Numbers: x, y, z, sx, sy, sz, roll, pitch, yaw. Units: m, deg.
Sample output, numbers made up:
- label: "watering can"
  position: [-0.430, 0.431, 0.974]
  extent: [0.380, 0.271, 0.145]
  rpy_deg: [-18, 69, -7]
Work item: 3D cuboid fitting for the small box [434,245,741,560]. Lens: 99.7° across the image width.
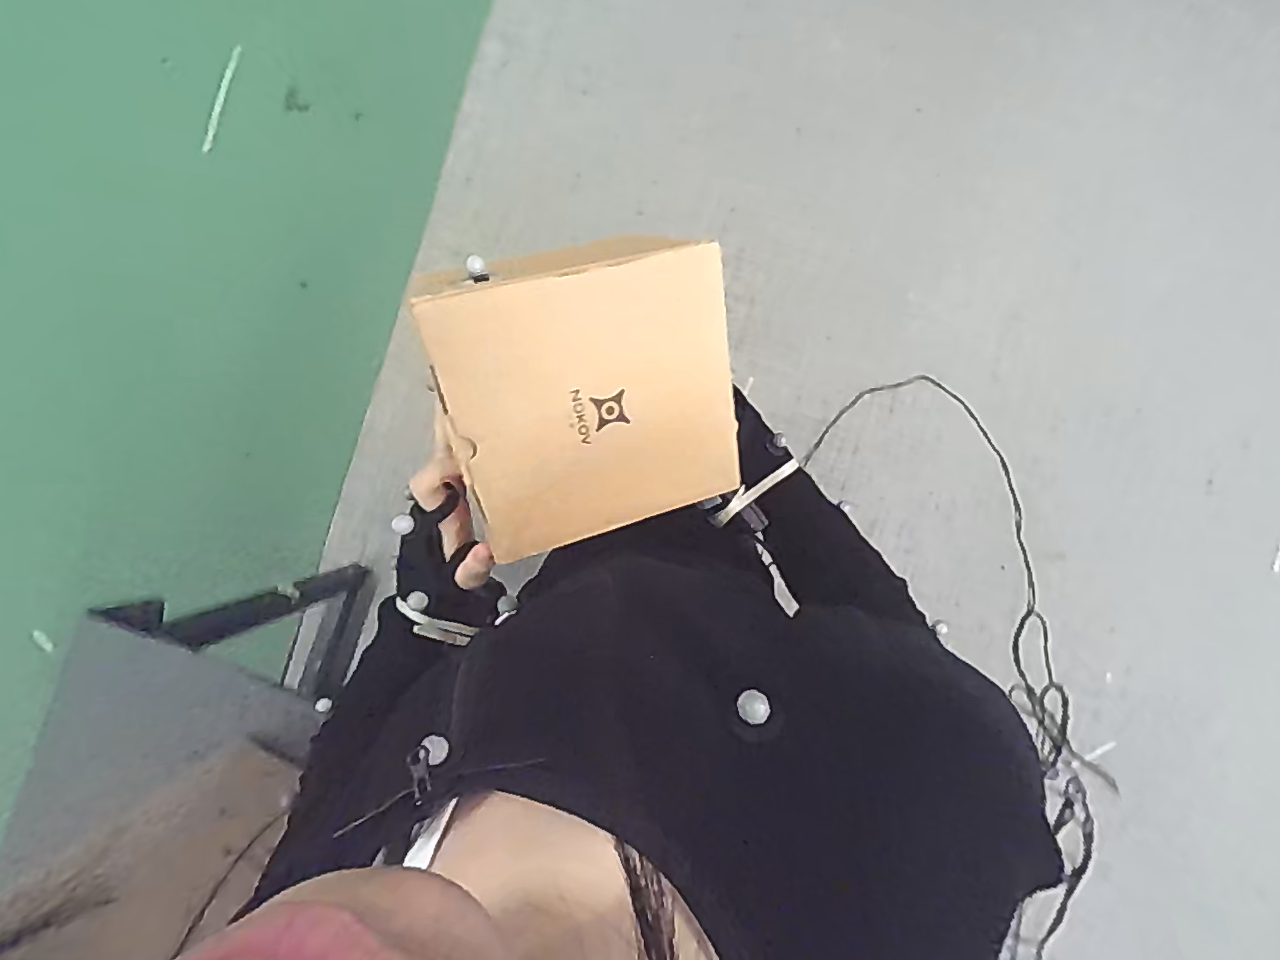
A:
- label: "small box"
  position: [-0.043, -0.073, 0.404]
  extent: [0.179, 0.176, 0.168]
  rpy_deg: [-16, 119, -12]
